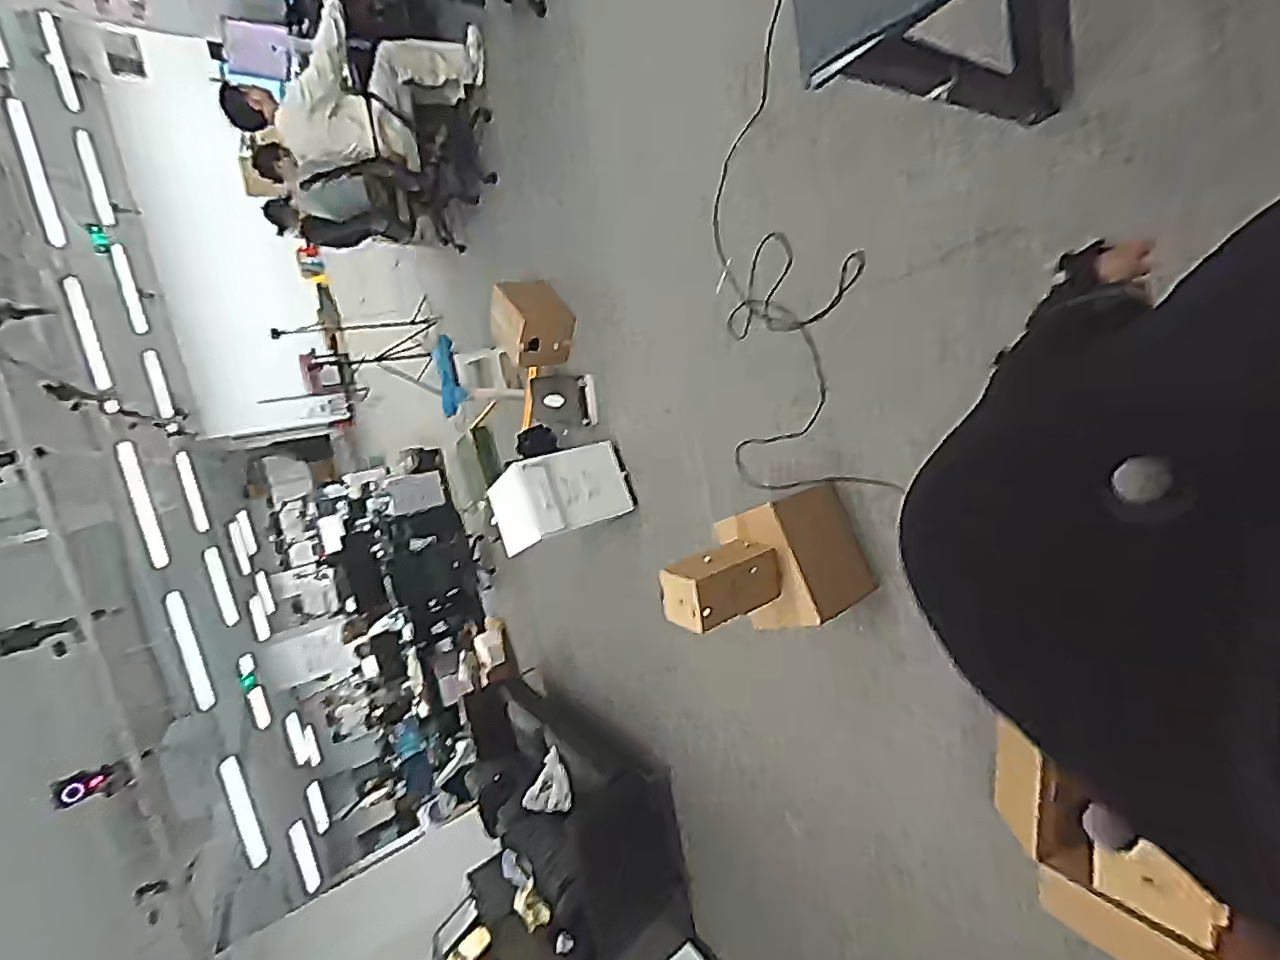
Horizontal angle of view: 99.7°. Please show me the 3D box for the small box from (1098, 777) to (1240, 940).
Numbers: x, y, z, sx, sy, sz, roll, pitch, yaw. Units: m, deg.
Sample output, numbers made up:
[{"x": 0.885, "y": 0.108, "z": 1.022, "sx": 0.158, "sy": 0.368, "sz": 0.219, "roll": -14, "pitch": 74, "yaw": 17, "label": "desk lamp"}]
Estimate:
[{"x": 1.056, "y": 0.738, "z": 1.081, "sx": 0.179, "sy": 0.176, "sz": 0.168, "roll": 7, "pitch": 107, "yaw": 56, "label": "small box"}]

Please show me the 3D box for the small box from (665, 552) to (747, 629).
[{"x": 0.204, "y": 0.331, "z": 1.669, "sx": 0.179, "sy": 0.176, "sz": 0.168, "roll": 7, "pitch": 110, "yaw": 57, "label": "small box"}]
